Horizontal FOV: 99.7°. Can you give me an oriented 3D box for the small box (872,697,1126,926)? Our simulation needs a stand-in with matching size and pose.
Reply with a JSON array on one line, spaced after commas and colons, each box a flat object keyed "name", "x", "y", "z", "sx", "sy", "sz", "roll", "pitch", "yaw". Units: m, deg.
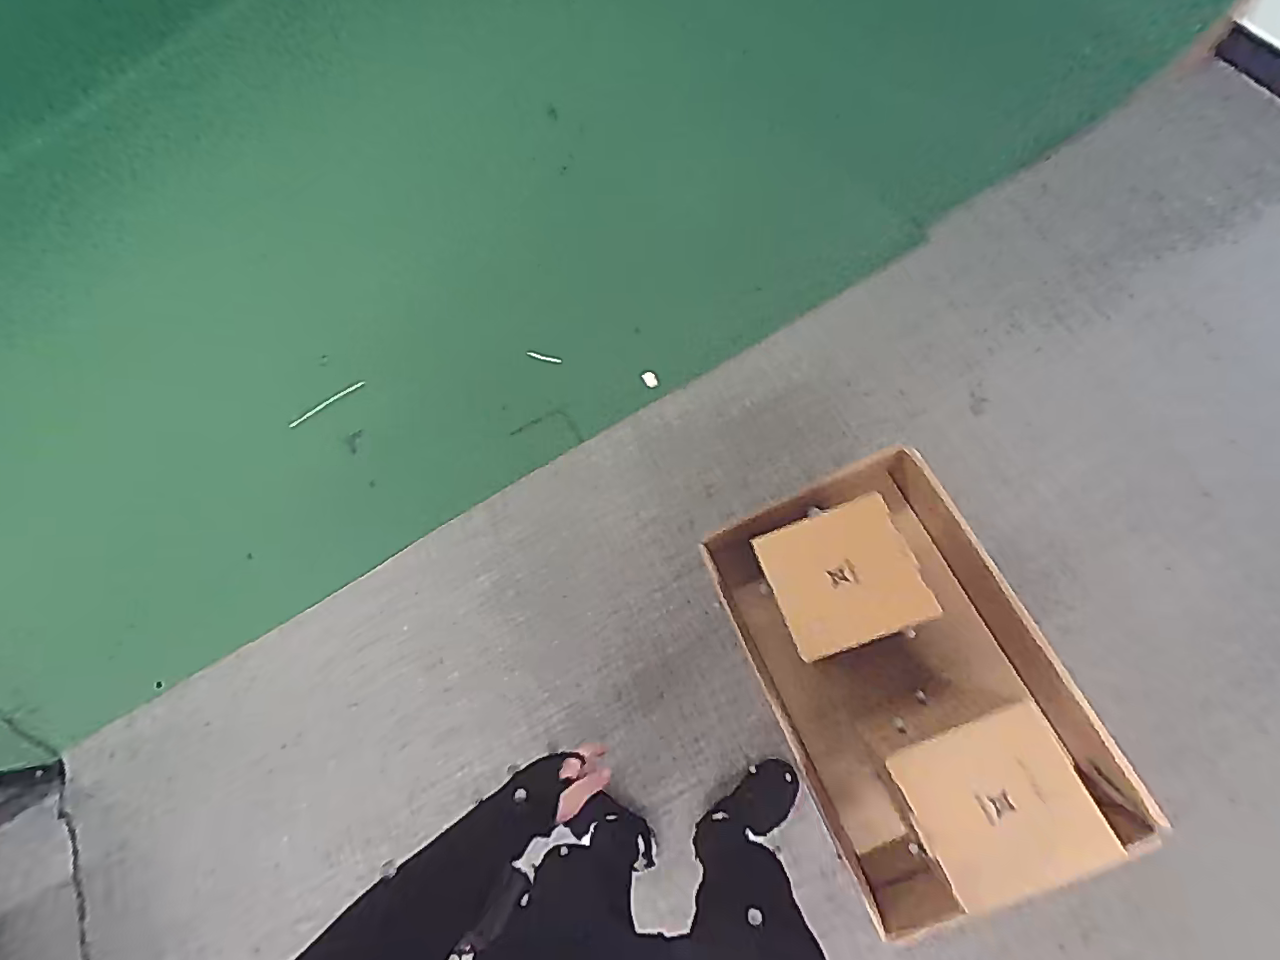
[{"name": "small box", "x": 0.402, "y": 0.379, "z": 0.651, "sx": 0.179, "sy": 0.176, "sz": 0.168, "roll": -25, "pitch": 71, "yaw": 5}]

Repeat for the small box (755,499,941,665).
[{"name": "small box", "x": 0.274, "y": 0.149, "z": 0.753, "sx": 0.179, "sy": 0.176, "sz": 0.168, "roll": -22, "pitch": 70, "yaw": 6}]
